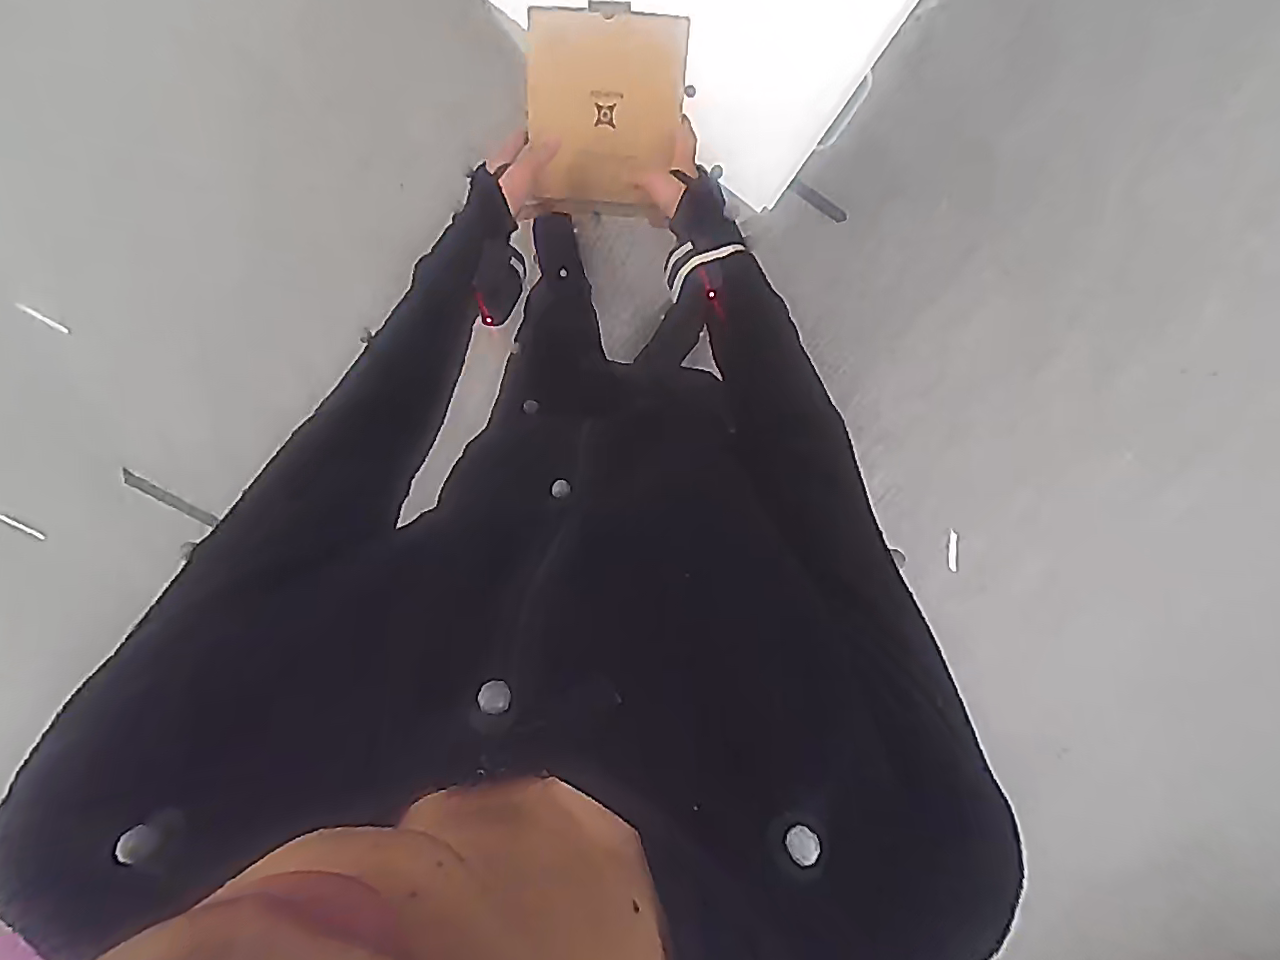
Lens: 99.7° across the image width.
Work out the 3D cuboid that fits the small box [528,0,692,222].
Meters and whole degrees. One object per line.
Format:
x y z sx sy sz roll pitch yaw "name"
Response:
-0.035 -0.419 0.644 0.168 0.176 0.179 4 111 -1 "small box"
